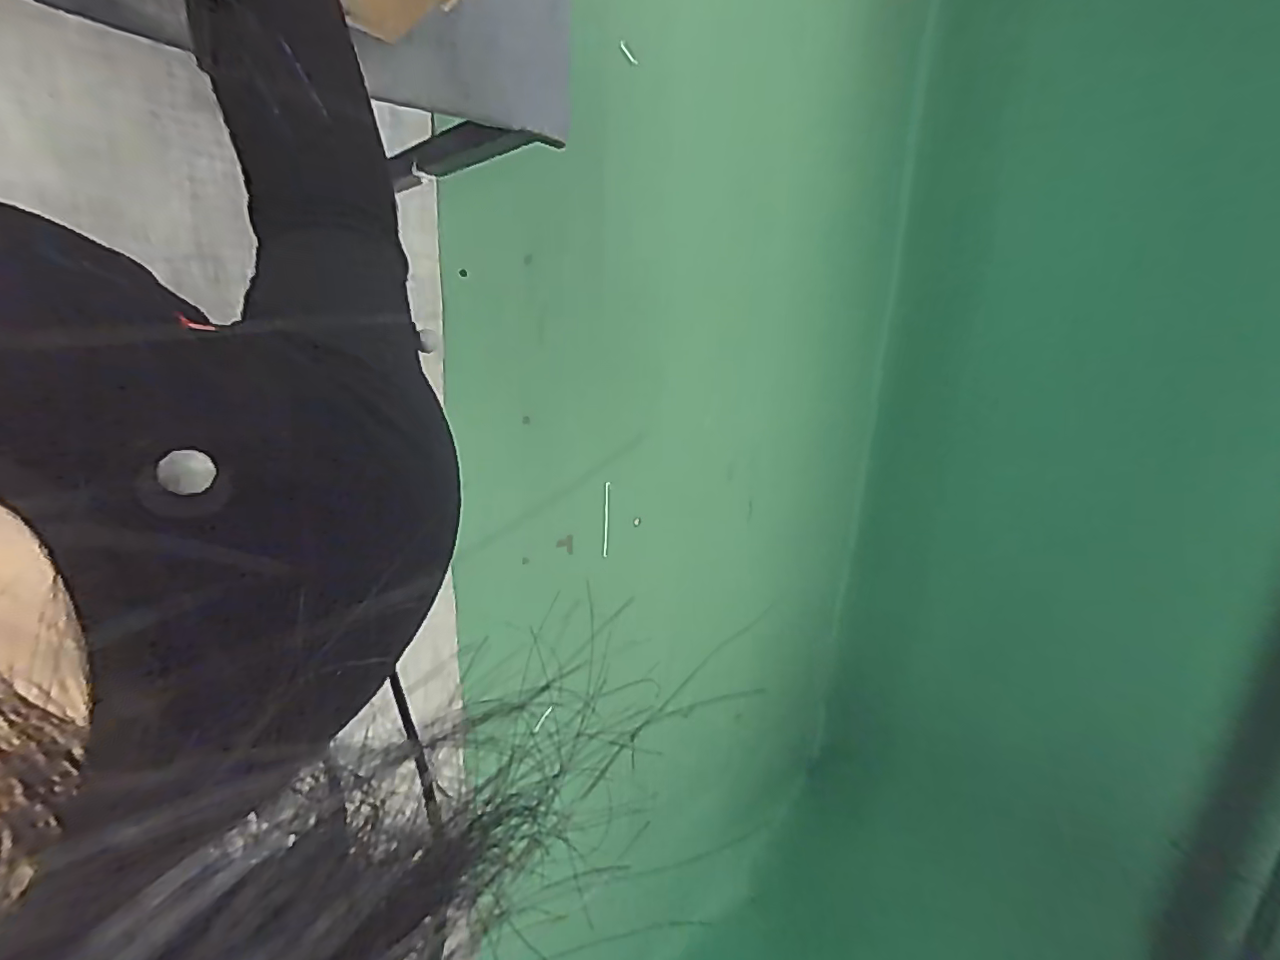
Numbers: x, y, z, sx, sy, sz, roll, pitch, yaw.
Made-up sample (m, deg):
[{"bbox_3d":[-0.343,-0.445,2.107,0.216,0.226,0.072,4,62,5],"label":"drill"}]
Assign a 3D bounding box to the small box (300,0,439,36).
[{"bbox_3d":[-0.300,-0.602,0.539,0.168,0.176,0.179,-10,109,-44],"label":"small box"}]
